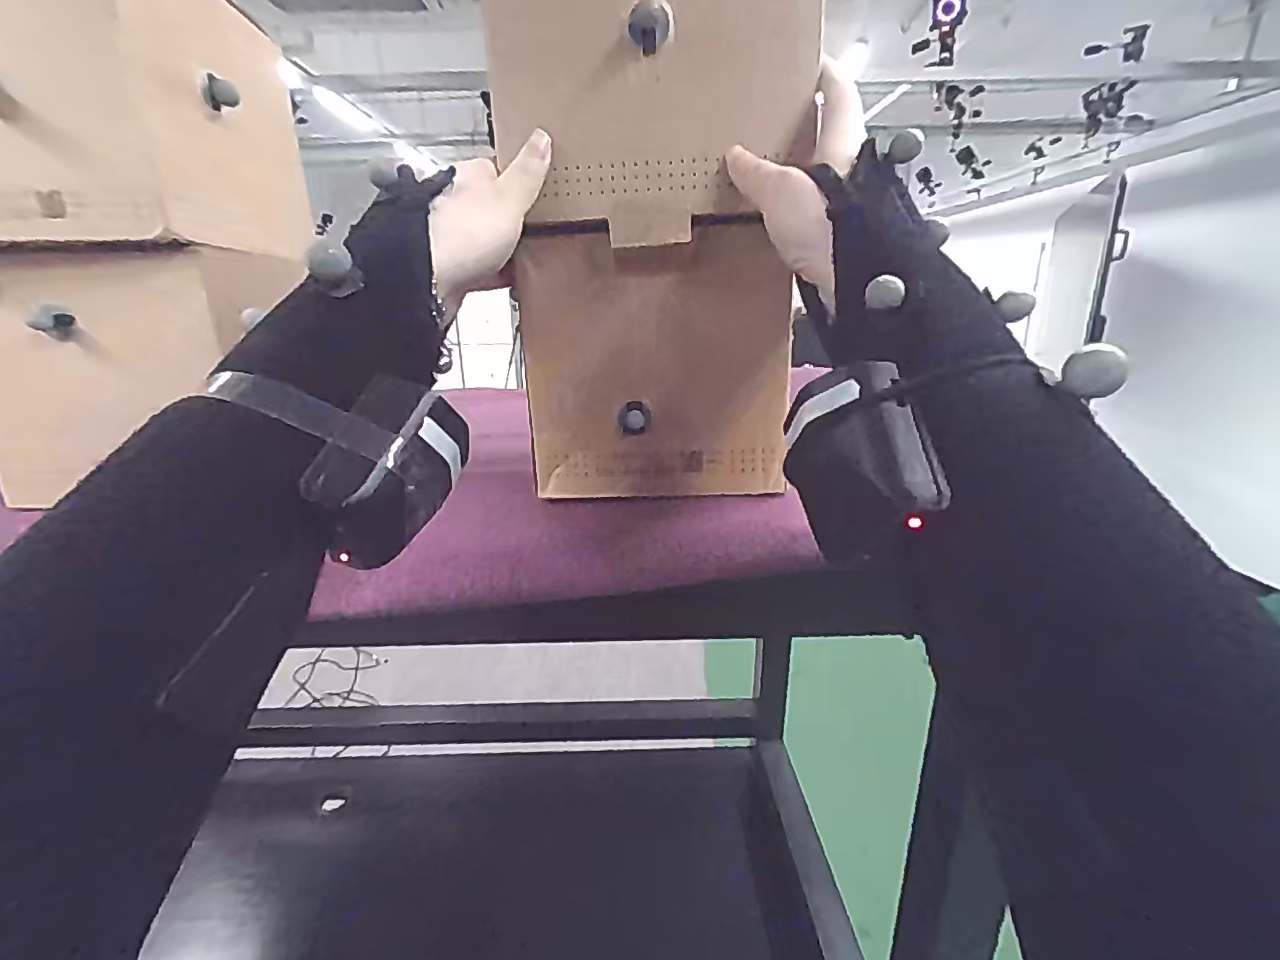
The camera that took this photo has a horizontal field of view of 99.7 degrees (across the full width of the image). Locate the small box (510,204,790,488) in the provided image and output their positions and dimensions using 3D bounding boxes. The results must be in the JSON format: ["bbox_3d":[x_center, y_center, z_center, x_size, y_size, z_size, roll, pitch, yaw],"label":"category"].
[{"bbox_3d":[0.011,-0.096,0.411,0.168,0.176,0.179,-2,16,3],"label":"small box"}]

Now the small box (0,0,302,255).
[{"bbox_3d":[-0.359,-0.240,0.360,0.168,0.176,0.179,-3,18,-4],"label":"small box"}]

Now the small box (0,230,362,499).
[{"bbox_3d":[-0.349,-0.086,0.418,0.179,0.176,0.168,-1,17,0],"label":"small box"}]
